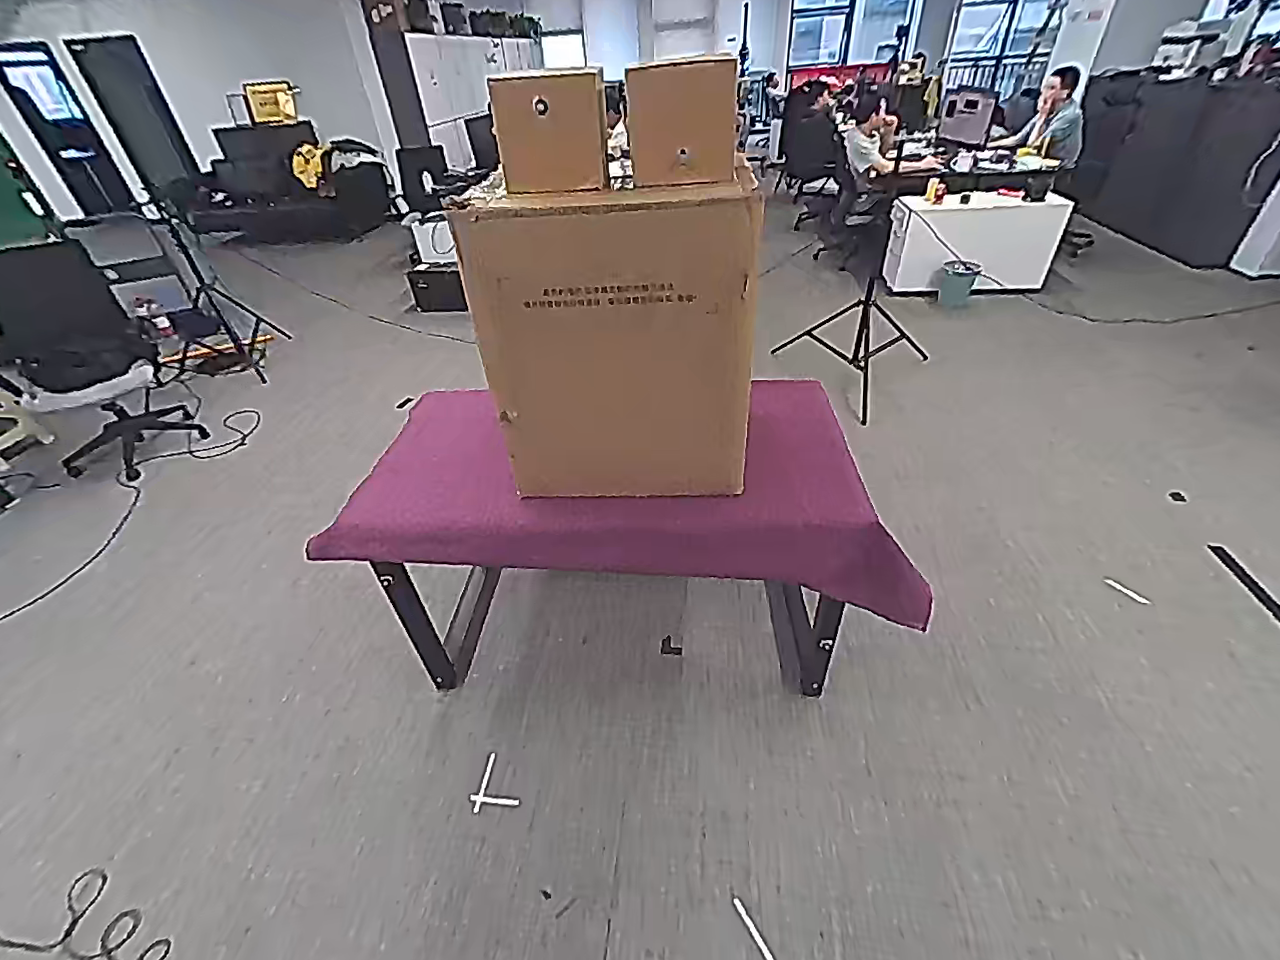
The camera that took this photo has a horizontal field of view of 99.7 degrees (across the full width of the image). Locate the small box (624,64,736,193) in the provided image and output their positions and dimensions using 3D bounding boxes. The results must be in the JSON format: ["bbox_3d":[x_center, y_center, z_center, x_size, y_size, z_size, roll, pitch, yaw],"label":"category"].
[{"bbox_3d":[0.073,-0.616,0.950,0.179,0.176,0.168,0,38,6],"label":"small box"}]
